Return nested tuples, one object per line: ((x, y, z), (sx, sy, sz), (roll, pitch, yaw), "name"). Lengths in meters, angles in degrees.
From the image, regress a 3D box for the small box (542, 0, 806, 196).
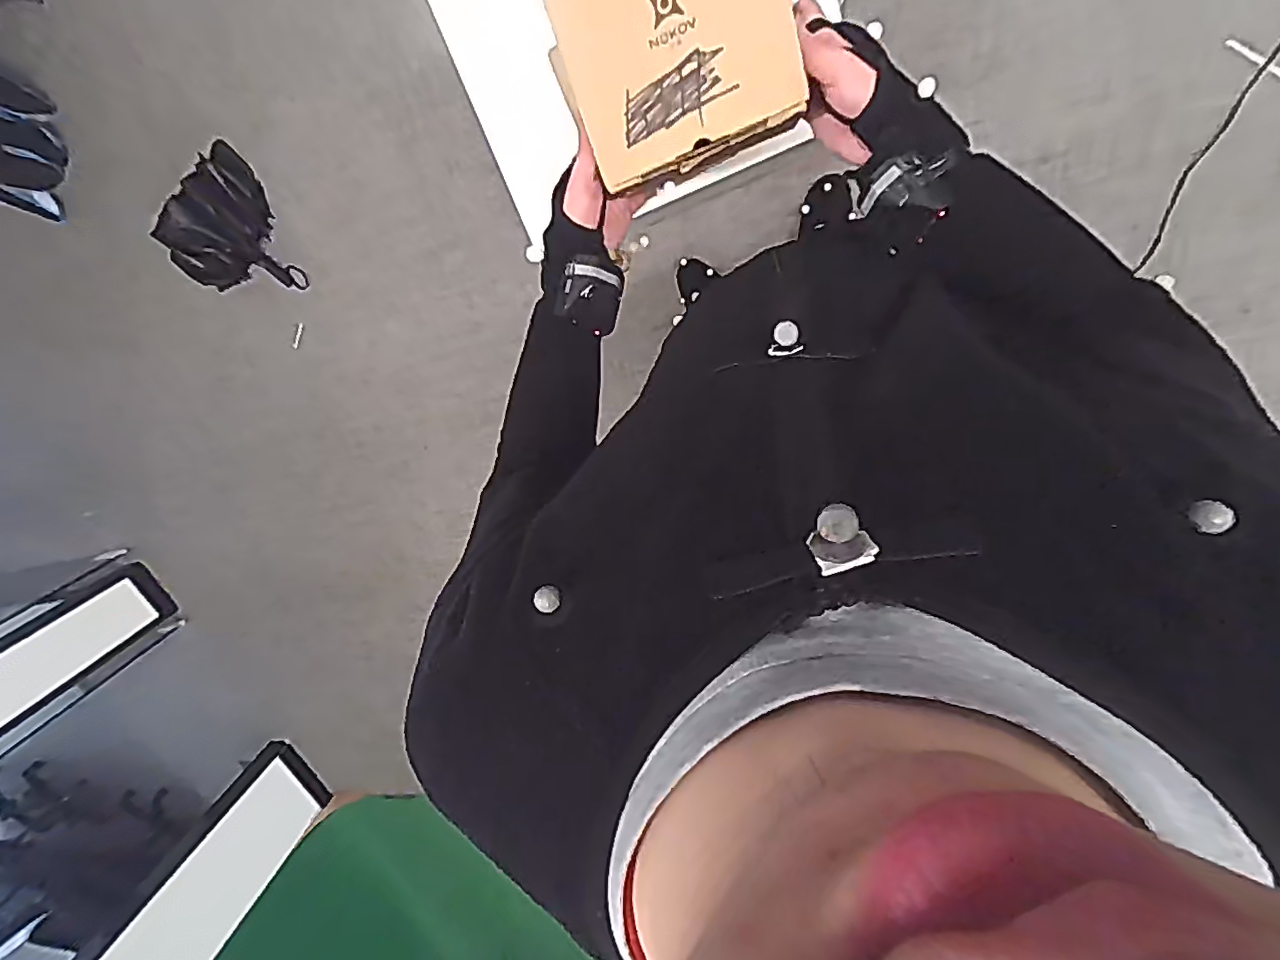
((0.036, -0.365, 0.459), (0.168, 0.176, 0.179), (-15, 113, 19), "small box")

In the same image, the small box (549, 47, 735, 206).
((0.015, -0.472, 0.692), (0.168, 0.176, 0.179), (-17, 110, 22), "small box")
